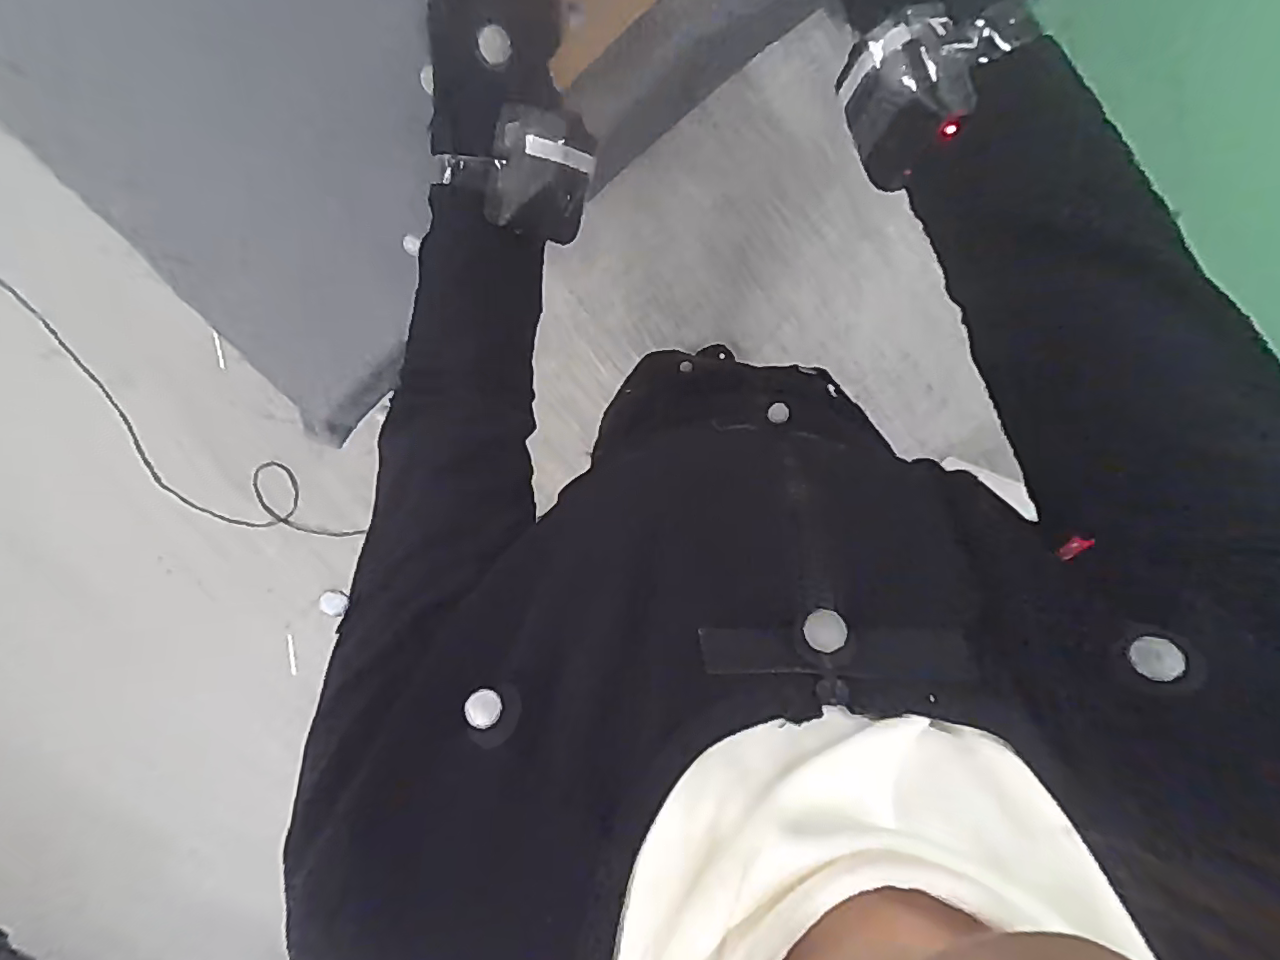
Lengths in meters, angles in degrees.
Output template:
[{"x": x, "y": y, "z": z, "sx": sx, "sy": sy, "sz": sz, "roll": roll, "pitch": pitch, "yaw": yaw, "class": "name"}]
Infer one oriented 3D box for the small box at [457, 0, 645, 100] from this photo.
[{"x": -0.101, "y": -0.499, "z": 0.487, "sx": 0.179, "sy": 0.176, "sz": 0.168, "roll": -37, "pitch": 99, "yaw": 12, "class": "small box"}]
